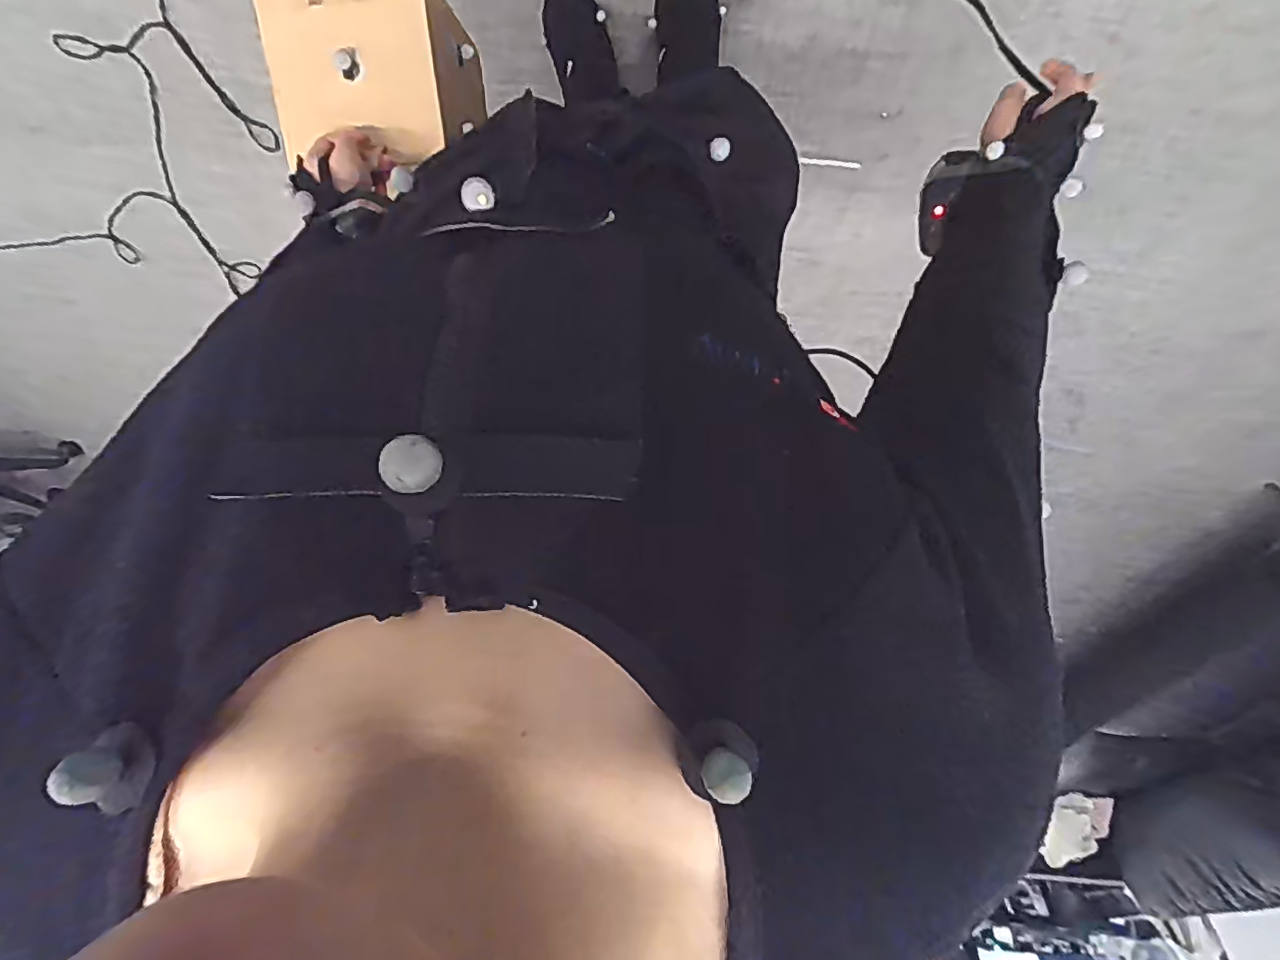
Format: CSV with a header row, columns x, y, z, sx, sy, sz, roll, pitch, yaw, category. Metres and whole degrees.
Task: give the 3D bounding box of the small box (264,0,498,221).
x,y,z,sx,sy,sz,roll,pitch,yaw,category
-0.276,-0.409,0.610,0.168,0.179,0.176,-4,105,3,small box
